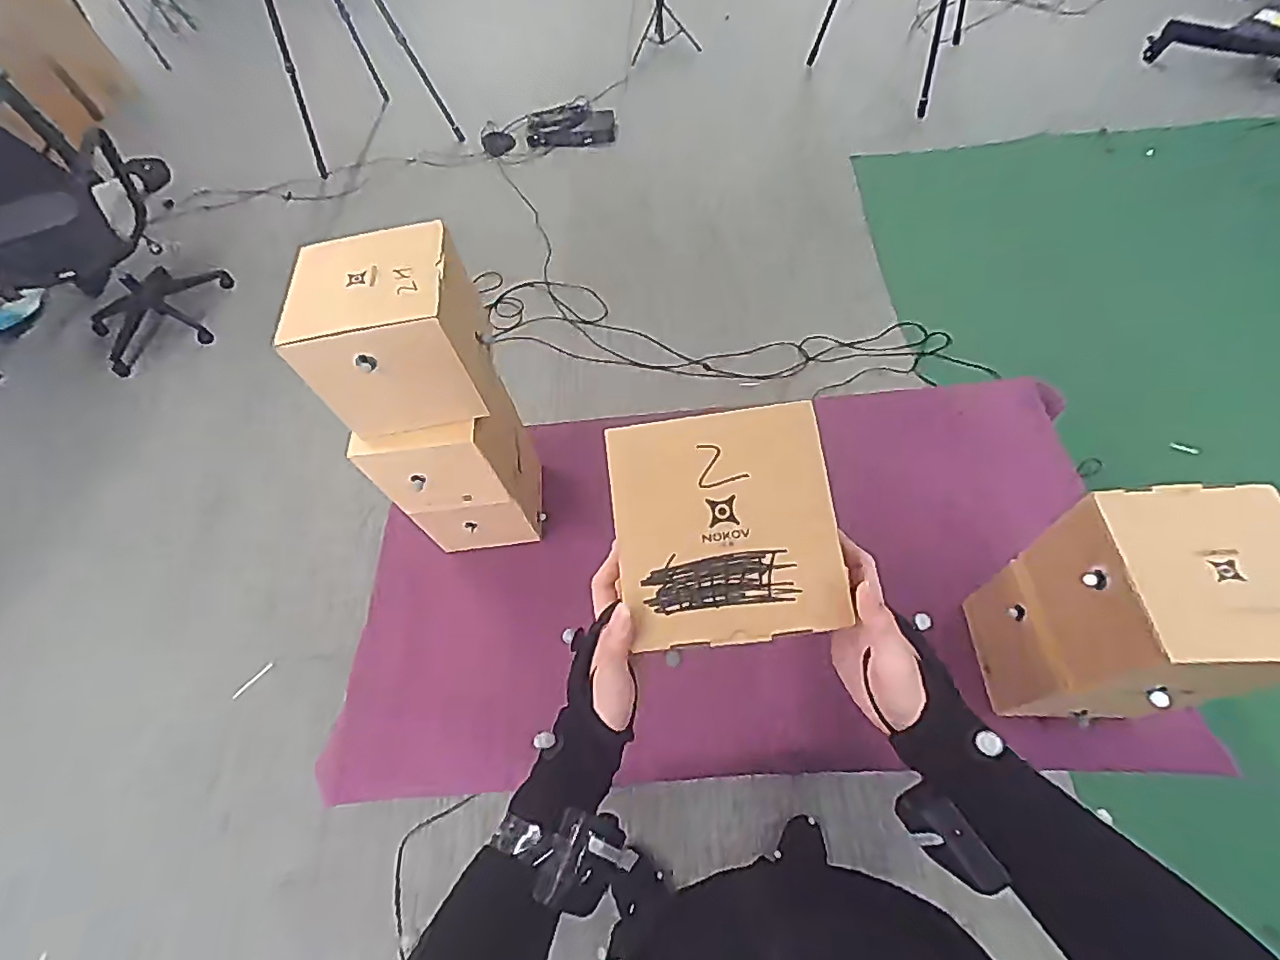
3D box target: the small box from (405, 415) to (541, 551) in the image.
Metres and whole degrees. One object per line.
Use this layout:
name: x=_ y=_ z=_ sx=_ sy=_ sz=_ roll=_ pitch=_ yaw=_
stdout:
small box: x=-0.274 y=0.010 z=0.932 sx=0.179 sy=0.176 sz=0.168 roll=-8 pitch=59 yaw=3

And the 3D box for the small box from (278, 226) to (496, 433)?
small box: x=-0.290 y=-0.175 z=0.663 sx=0.179 sy=0.176 sz=0.168 roll=-9 pitch=59 yaw=1

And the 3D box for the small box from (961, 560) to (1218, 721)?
small box: x=0.564 y=0.215 z=0.711 sx=0.179 sy=0.176 sz=0.168 roll=-1 pitch=58 yaw=6

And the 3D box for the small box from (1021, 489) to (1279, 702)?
small box: x=0.550 y=0.126 z=0.575 sx=0.168 sy=0.176 sz=0.179 roll=-2 pitch=59 yaw=8

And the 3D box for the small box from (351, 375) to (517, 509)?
small box: x=-0.284 y=-0.068 z=0.791 sx=0.168 sy=0.176 sz=0.179 roll=-7 pitch=58 yaw=2
